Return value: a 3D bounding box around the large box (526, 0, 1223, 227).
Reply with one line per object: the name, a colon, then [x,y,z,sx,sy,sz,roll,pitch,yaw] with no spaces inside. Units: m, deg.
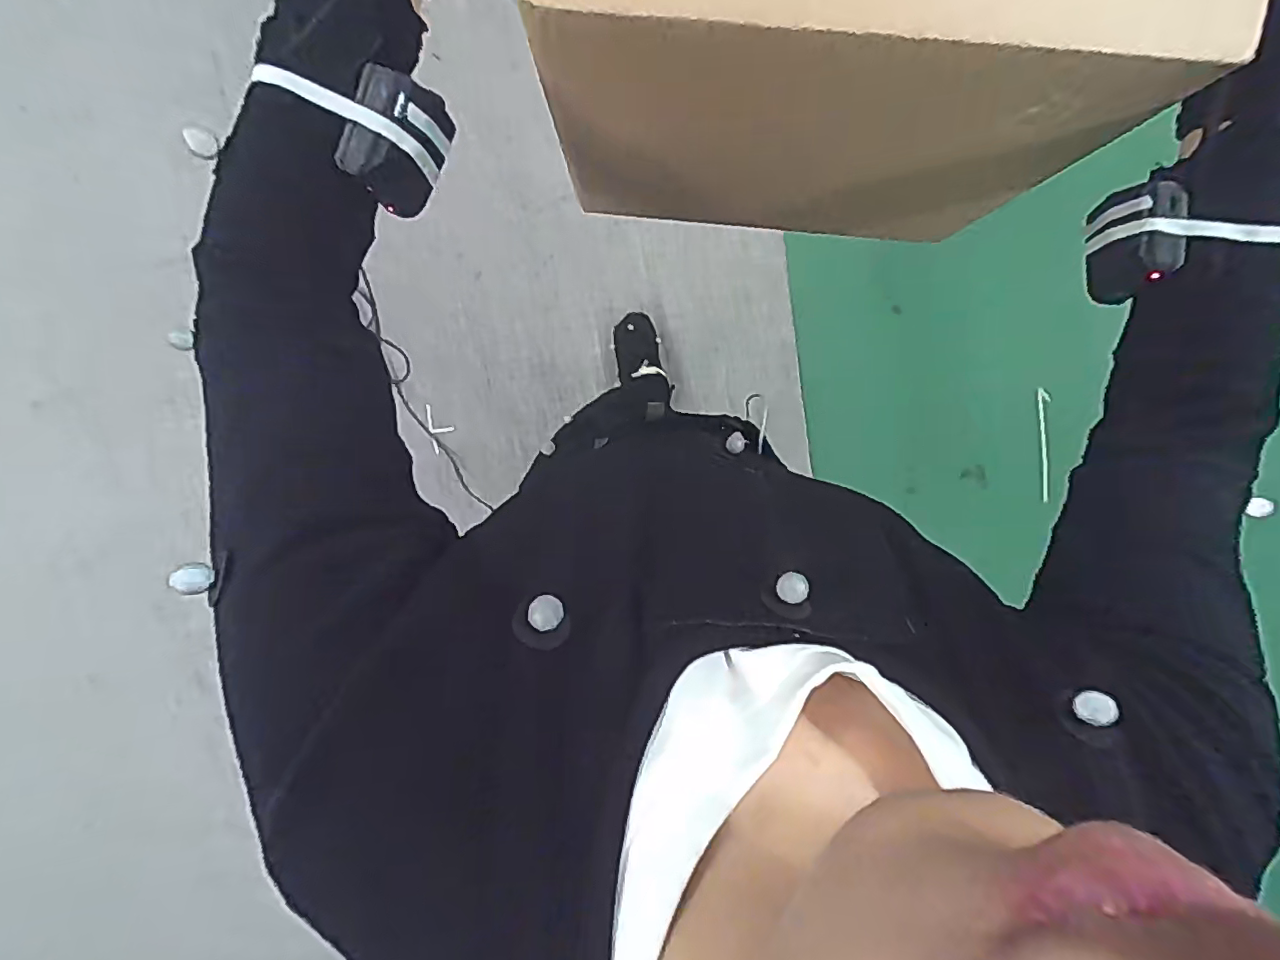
large box: [0.136,-0.423,0.436,0.408,0.320,0.320,4,97,-1]
